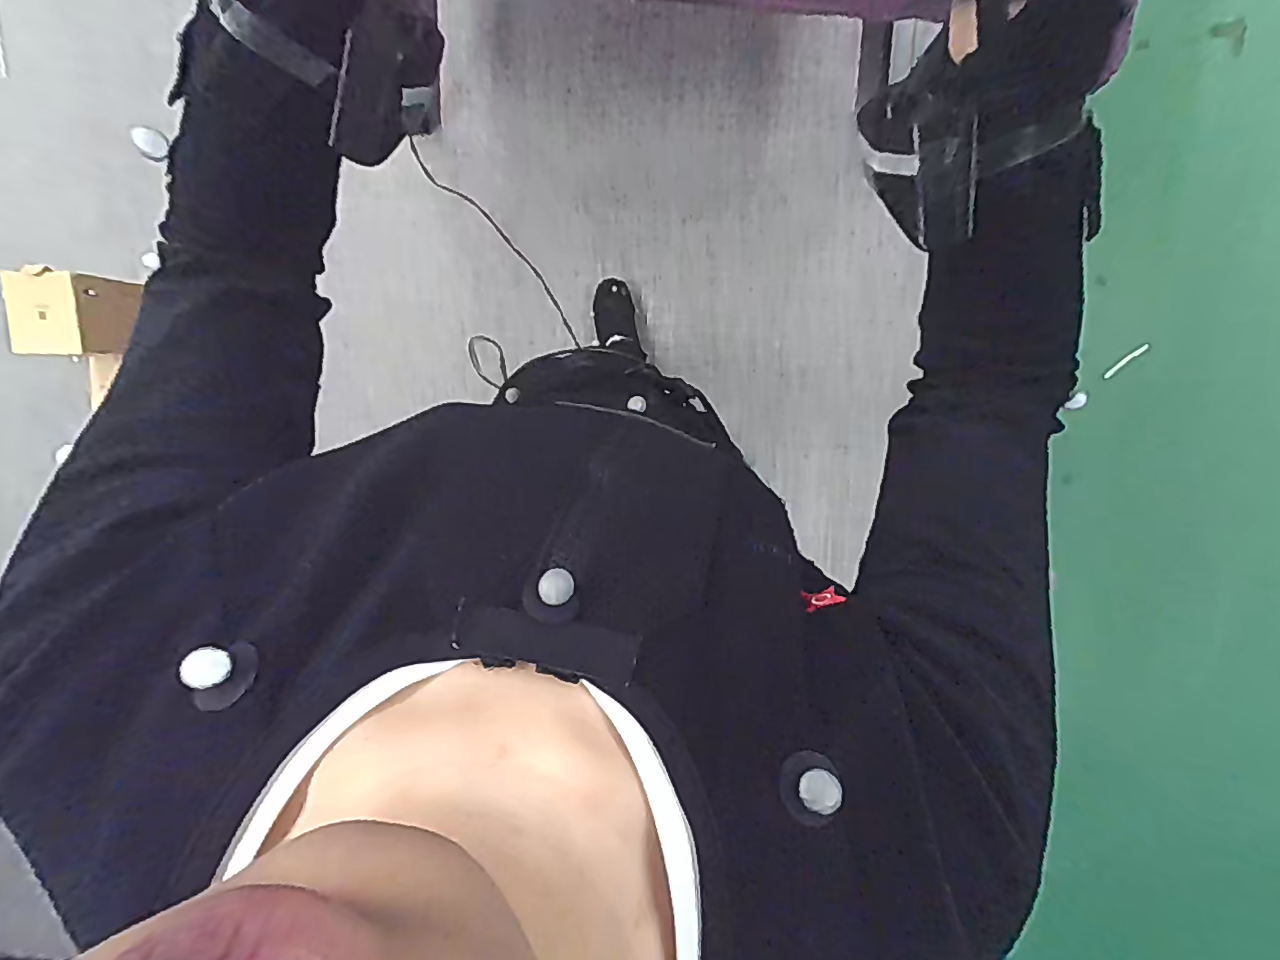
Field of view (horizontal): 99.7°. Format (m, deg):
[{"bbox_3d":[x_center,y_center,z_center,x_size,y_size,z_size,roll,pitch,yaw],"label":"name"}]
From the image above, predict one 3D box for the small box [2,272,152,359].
[{"bbox_3d":[-1.278,-0.371,1.242,0.168,0.176,0.179,1,99,3],"label":"small box"}]
